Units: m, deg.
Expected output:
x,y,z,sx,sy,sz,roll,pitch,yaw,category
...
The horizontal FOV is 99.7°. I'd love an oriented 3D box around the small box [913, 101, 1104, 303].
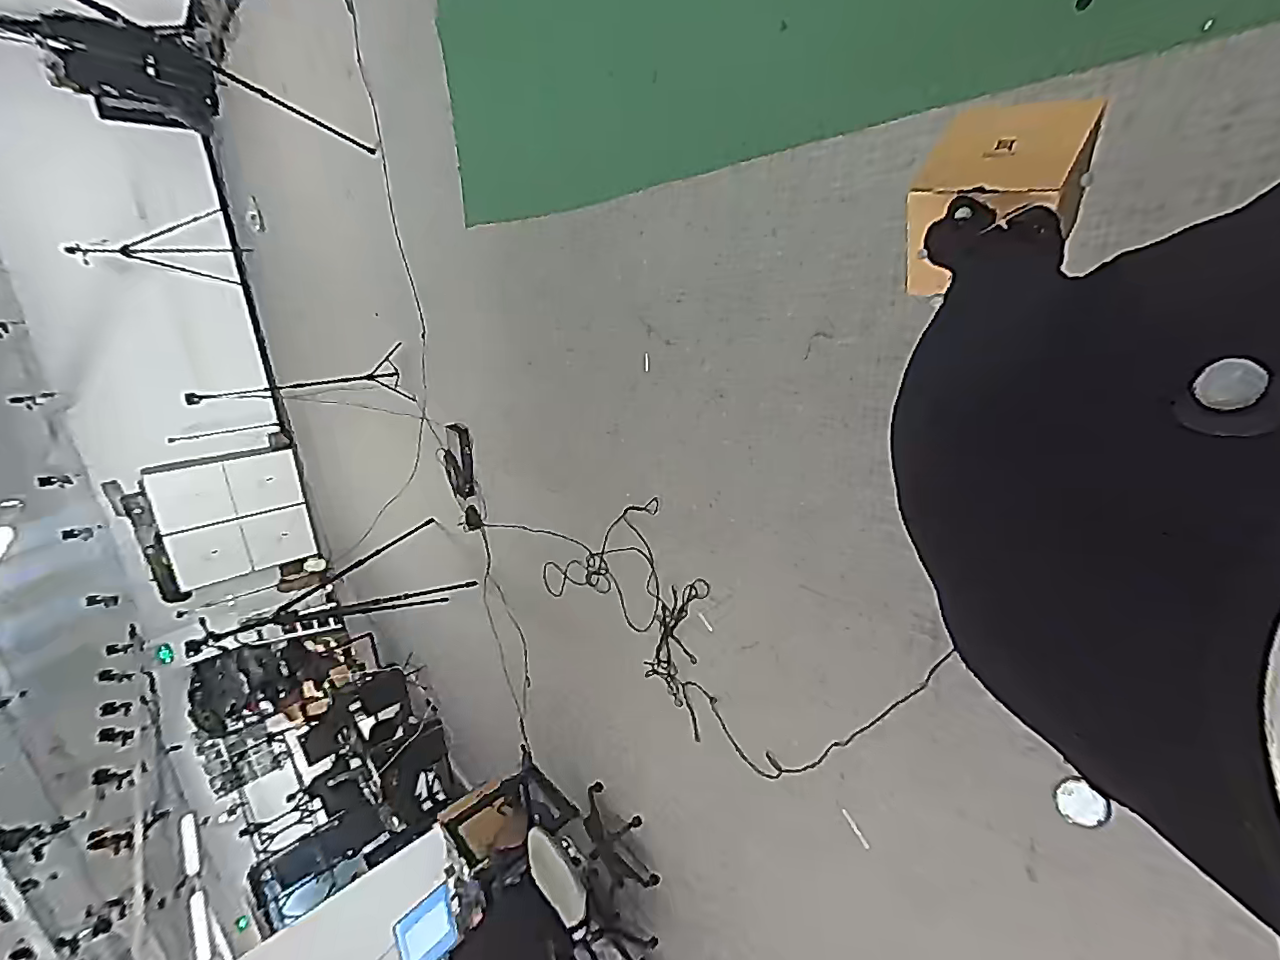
x,y,z,sx,sy,sz,roll,pitch,yaw,category
0.488,-0.373,0.738,0.168,0.179,0.176,21,158,37,small box
